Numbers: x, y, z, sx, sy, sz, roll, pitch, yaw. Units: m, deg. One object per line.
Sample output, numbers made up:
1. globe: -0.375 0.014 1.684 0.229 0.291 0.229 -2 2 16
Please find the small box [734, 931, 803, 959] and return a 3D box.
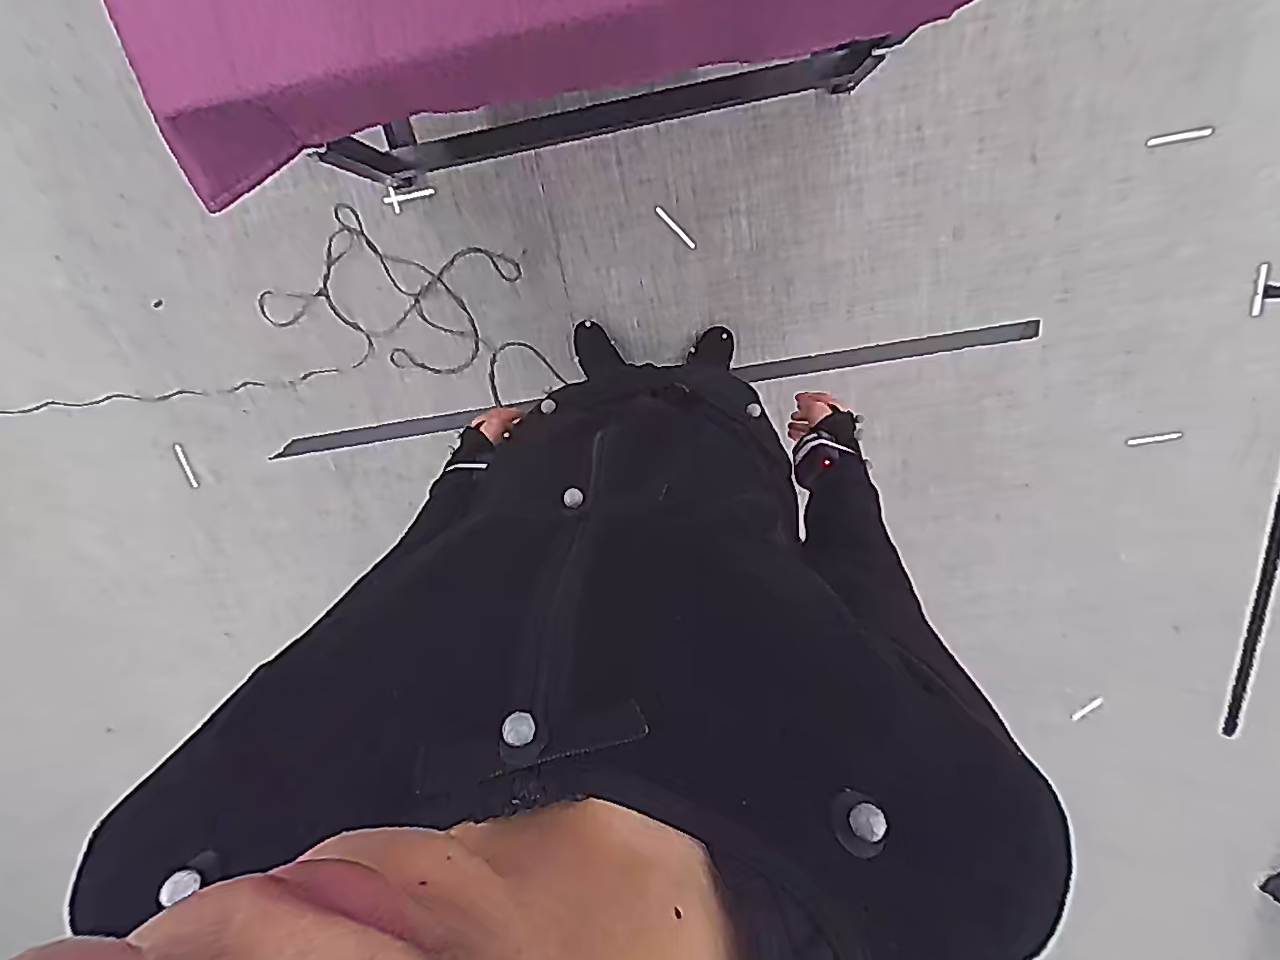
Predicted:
1. small box: 0.351 1.342 1.438 0.179 0.176 0.168 -5 109 3
